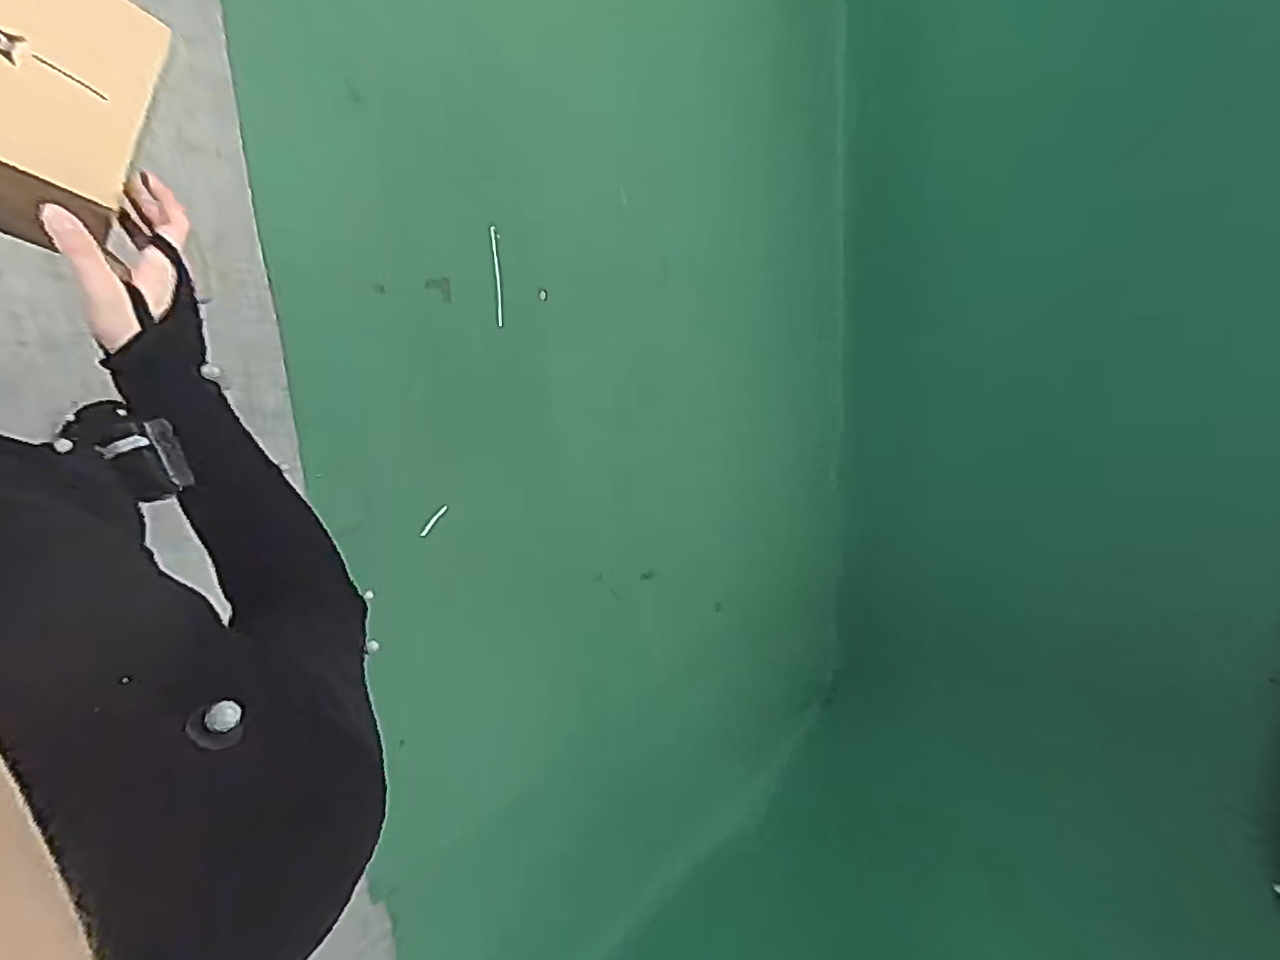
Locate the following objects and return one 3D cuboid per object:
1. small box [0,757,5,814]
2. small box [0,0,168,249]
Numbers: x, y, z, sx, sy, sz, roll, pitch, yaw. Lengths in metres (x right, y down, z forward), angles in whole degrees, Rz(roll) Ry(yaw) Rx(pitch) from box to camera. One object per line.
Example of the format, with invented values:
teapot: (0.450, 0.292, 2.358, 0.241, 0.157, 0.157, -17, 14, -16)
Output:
small box: (-1.271, 0.548, 0.956, 0.168, 0.176, 0.179, -10, 104, -44)
small box: (-0.503, -0.305, 0.408, 0.179, 0.176, 0.168, 18, 76, -48)
